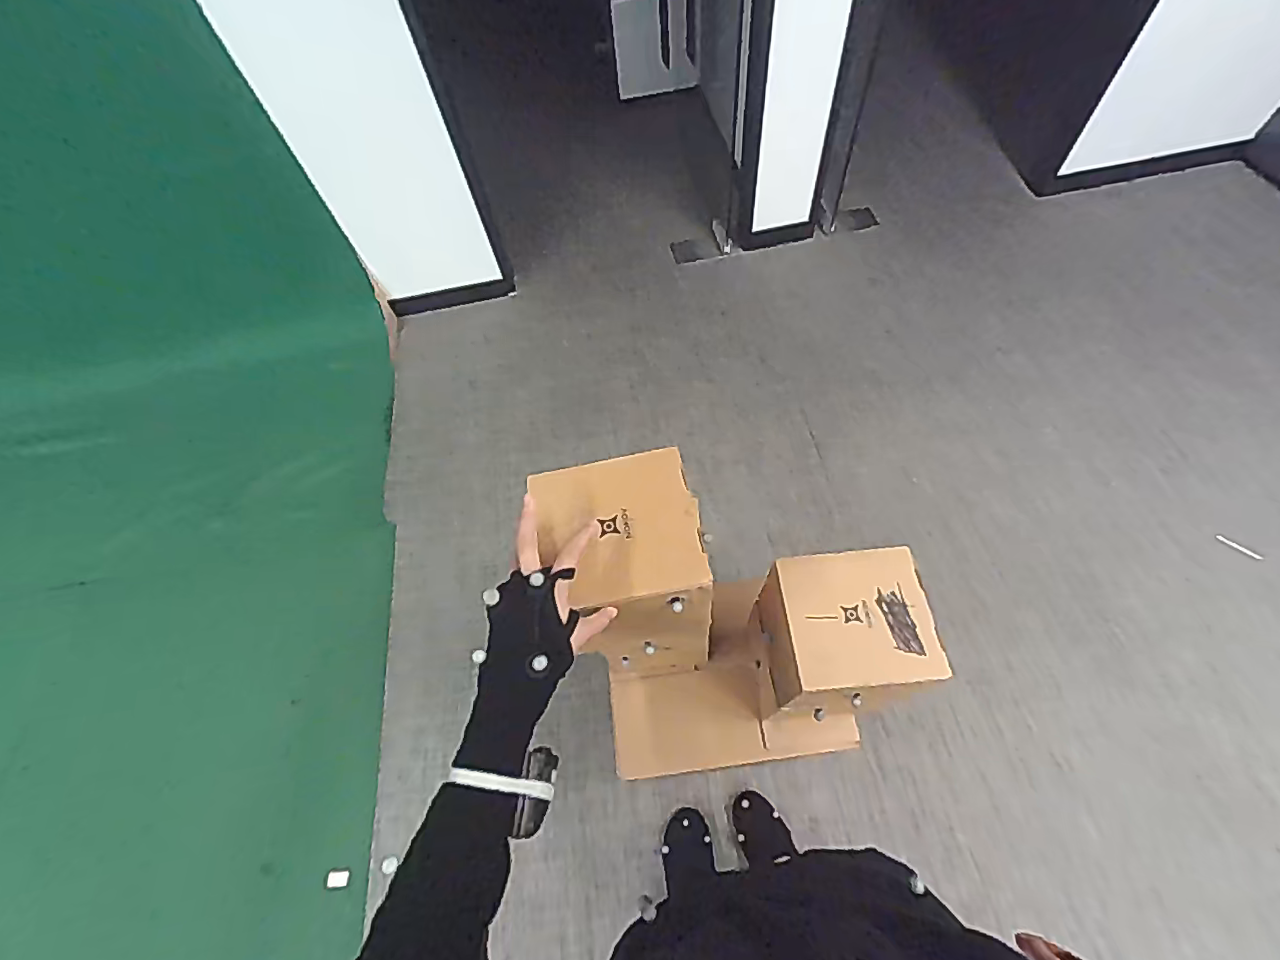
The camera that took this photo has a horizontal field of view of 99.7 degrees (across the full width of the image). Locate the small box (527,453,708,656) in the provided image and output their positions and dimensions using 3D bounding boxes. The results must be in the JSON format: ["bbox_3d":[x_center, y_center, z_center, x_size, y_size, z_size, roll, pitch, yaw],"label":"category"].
[{"bbox_3d":[-0.021,0.096,0.639,0.179,0.176,0.168,-12,59,-1],"label":"small box"}]

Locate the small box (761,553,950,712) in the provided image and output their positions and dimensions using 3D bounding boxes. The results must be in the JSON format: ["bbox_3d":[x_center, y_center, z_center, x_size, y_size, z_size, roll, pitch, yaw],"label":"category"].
[{"bbox_3d":[0.271,0.211,0.728,0.179,0.176,0.168,-6,60,2],"label":"small box"}]

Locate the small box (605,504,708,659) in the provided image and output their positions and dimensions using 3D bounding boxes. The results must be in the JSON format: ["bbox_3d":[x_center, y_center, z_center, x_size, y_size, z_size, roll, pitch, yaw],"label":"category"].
[{"bbox_3d":[0.010,0.154,0.792,0.168,0.176,0.179,-5,60,5],"label":"small box"}]

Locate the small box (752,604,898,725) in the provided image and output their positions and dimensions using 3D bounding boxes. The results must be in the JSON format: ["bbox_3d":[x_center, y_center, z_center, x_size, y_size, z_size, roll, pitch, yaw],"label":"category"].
[{"bbox_3d":[0.281,0.293,0.869,0.179,0.176,0.168,-7,62,2],"label":"small box"}]
